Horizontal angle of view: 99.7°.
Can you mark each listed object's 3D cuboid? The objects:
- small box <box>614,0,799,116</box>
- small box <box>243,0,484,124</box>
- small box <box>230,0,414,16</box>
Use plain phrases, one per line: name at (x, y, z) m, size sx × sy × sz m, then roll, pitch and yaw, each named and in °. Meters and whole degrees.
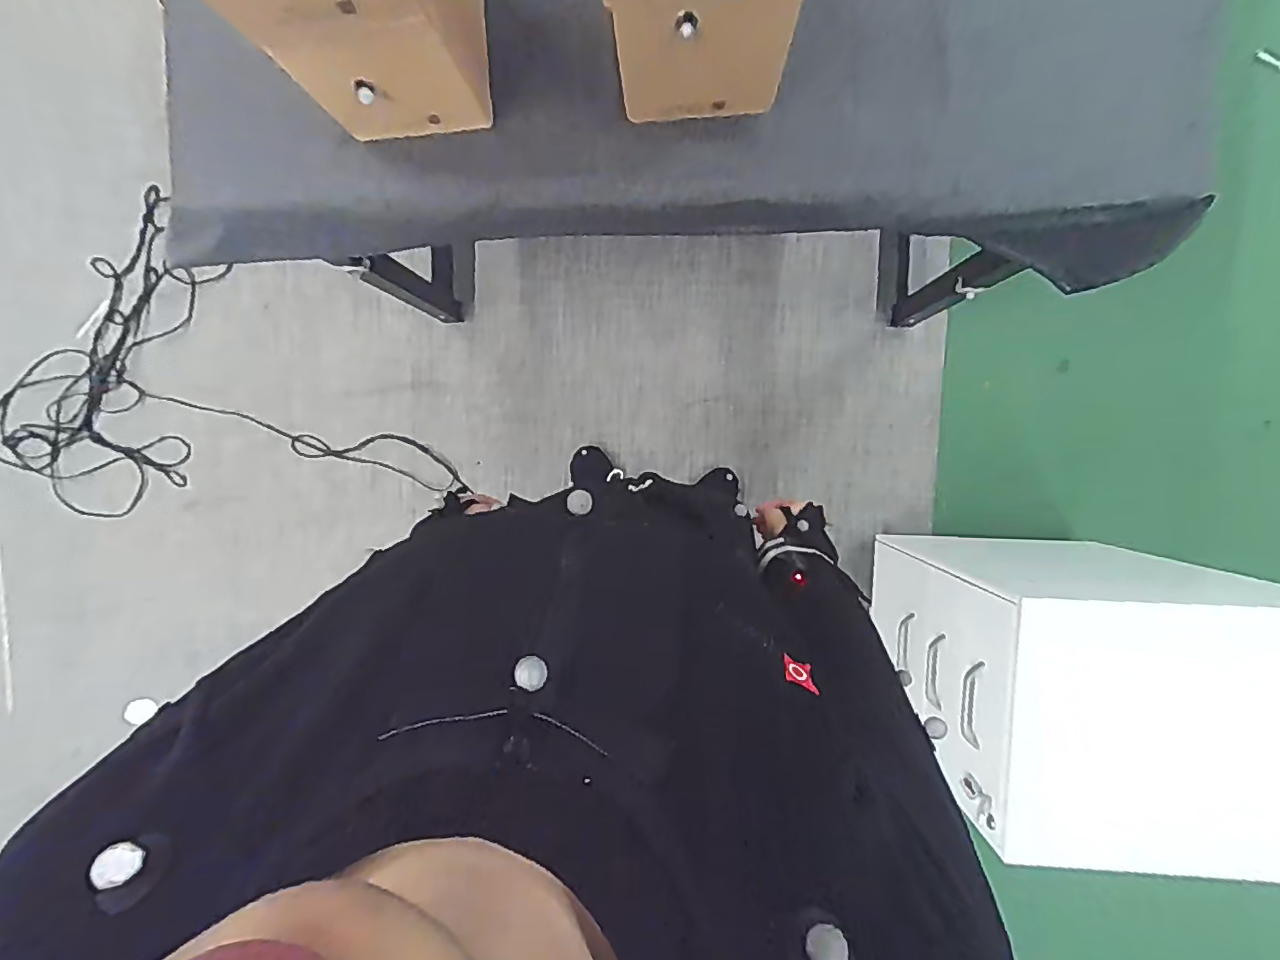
small box at (0.057, -0.501, 0.530) m, size 0.168 × 0.176 × 0.179 m, roll -2°, pitch 93°, yaw 3°
small box at (-0.267, -0.490, 0.545) m, size 0.168 × 0.176 × 0.179 m, roll -4°, pitch 93°, yaw 3°
small box at (-0.275, -0.477, 0.384) m, size 0.168 × 0.176 × 0.179 m, roll -5°, pitch 92°, yaw 2°
